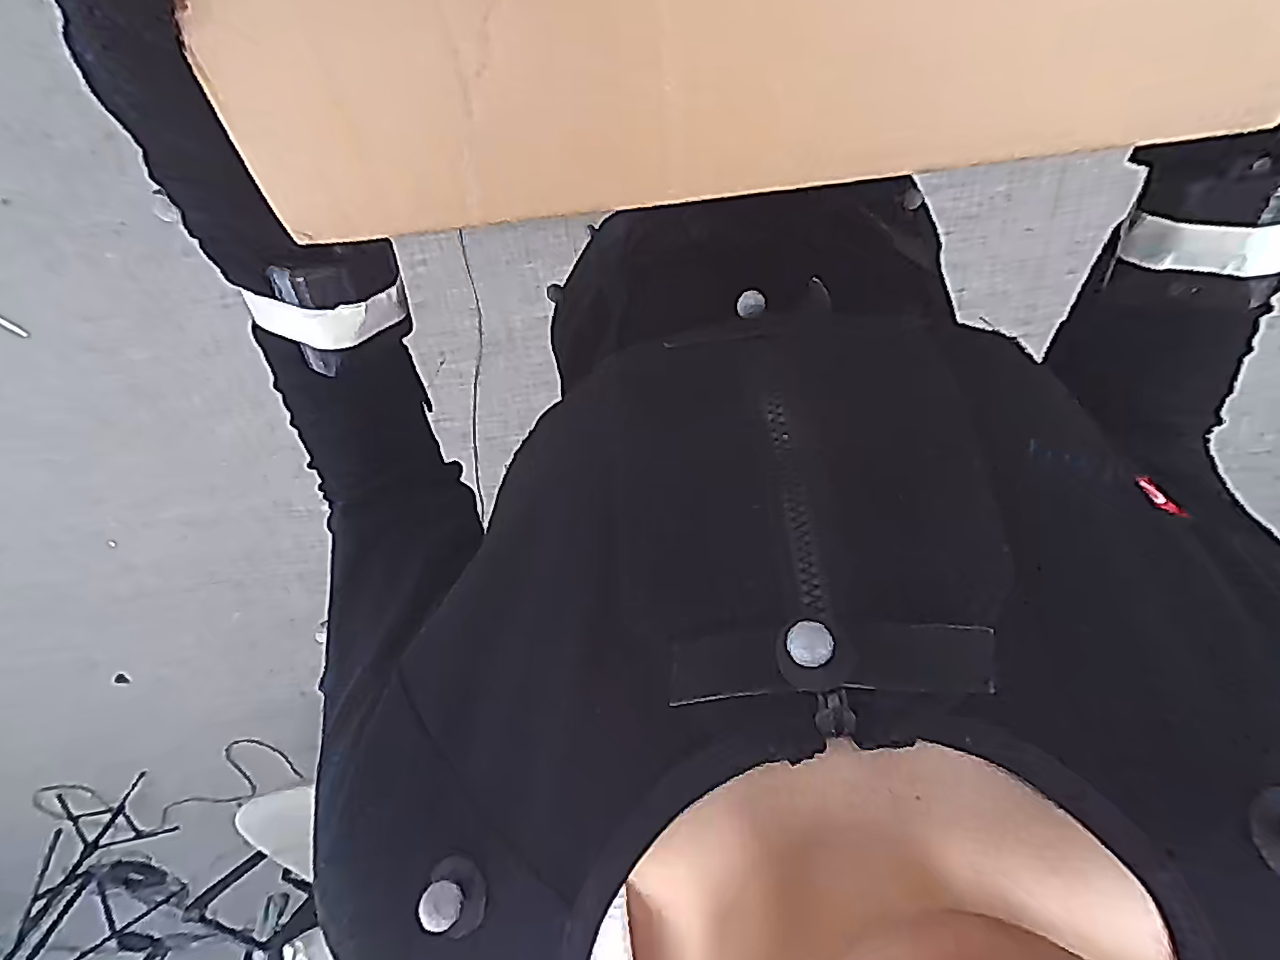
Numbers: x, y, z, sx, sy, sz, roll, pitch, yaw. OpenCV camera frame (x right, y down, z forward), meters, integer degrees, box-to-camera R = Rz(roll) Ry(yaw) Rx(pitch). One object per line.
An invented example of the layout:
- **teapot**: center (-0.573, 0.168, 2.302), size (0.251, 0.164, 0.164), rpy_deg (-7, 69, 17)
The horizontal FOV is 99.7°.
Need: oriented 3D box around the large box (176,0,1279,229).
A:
- **large box**: center (0.025, -0.346, 0.219), size (0.408, 0.320, 0.320), rpy_deg (-5, 137, 4)
